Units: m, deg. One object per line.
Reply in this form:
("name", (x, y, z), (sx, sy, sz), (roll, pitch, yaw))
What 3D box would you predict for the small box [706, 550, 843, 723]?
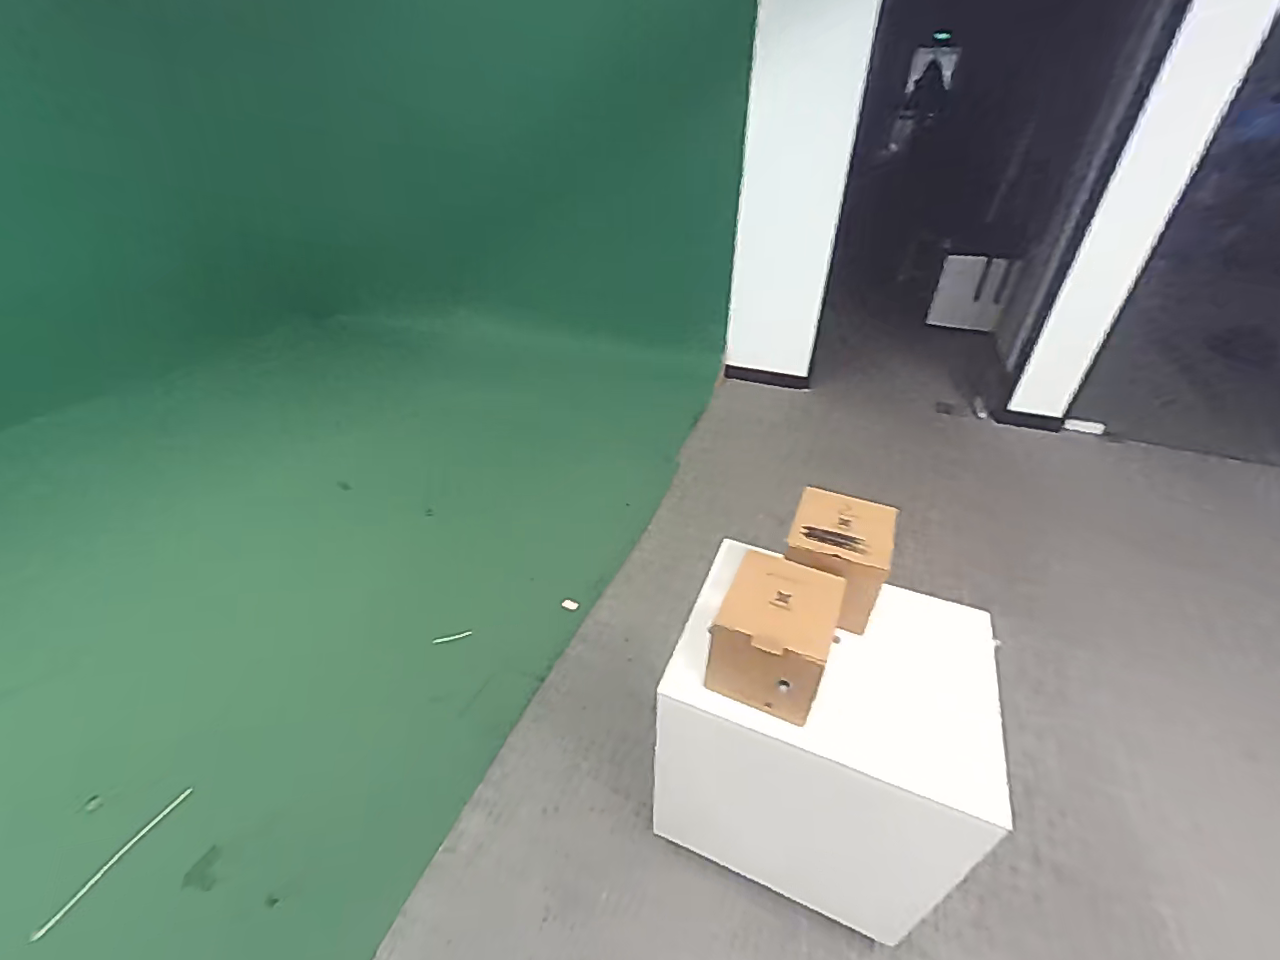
("small box", (0.210, 0.248, 0.861), (0.168, 0.176, 0.179), (17, 38, 19))
